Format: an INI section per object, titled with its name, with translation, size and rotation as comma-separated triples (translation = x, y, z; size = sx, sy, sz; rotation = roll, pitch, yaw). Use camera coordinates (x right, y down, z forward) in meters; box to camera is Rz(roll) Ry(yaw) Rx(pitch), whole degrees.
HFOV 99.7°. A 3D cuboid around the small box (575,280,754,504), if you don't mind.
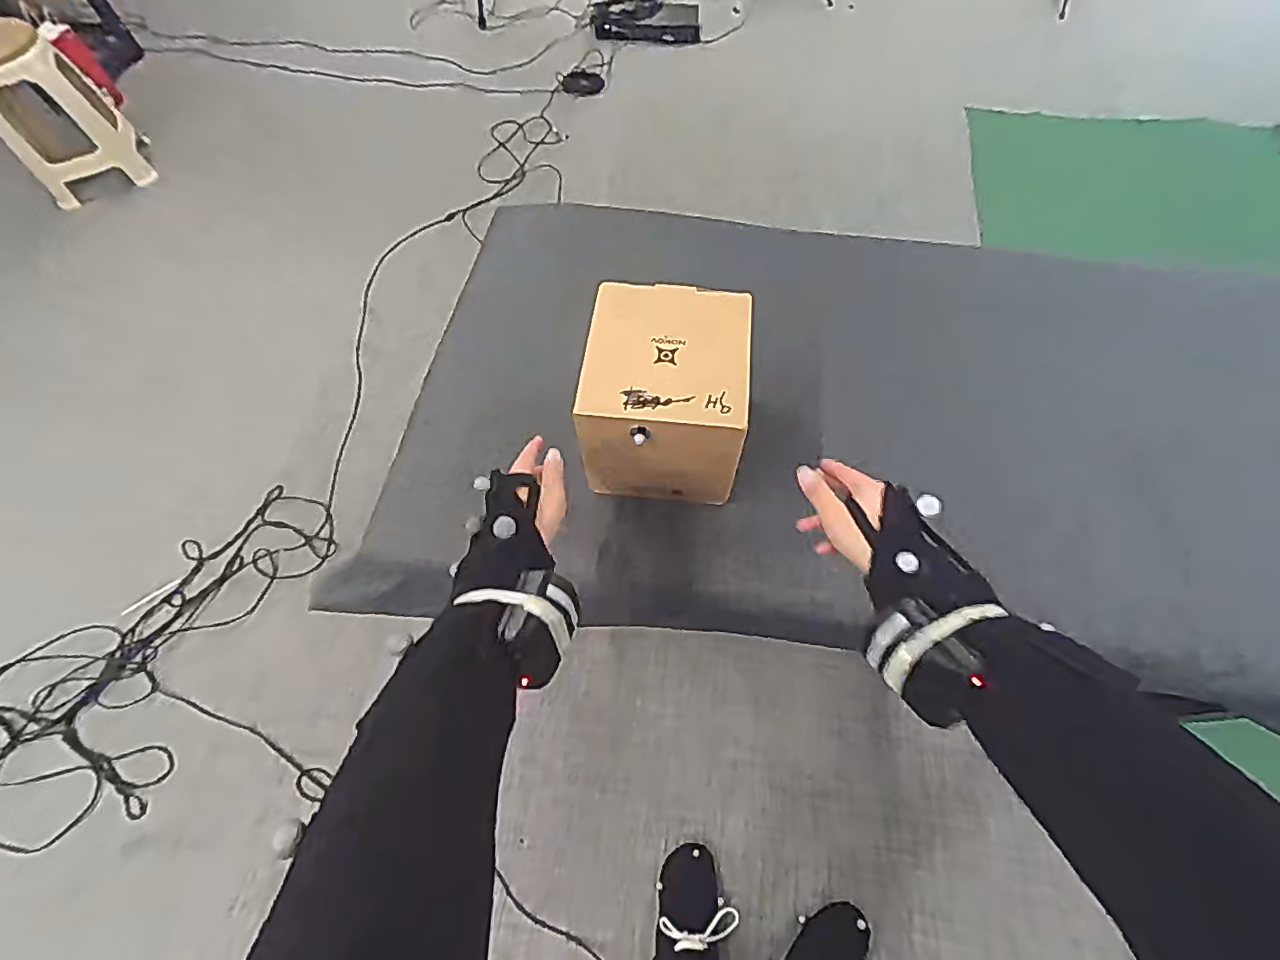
[small box]
translation = 0.029, -0.093, 0.610
size = 0.168, 0.176, 0.179
rotation = 6, 62, 4
